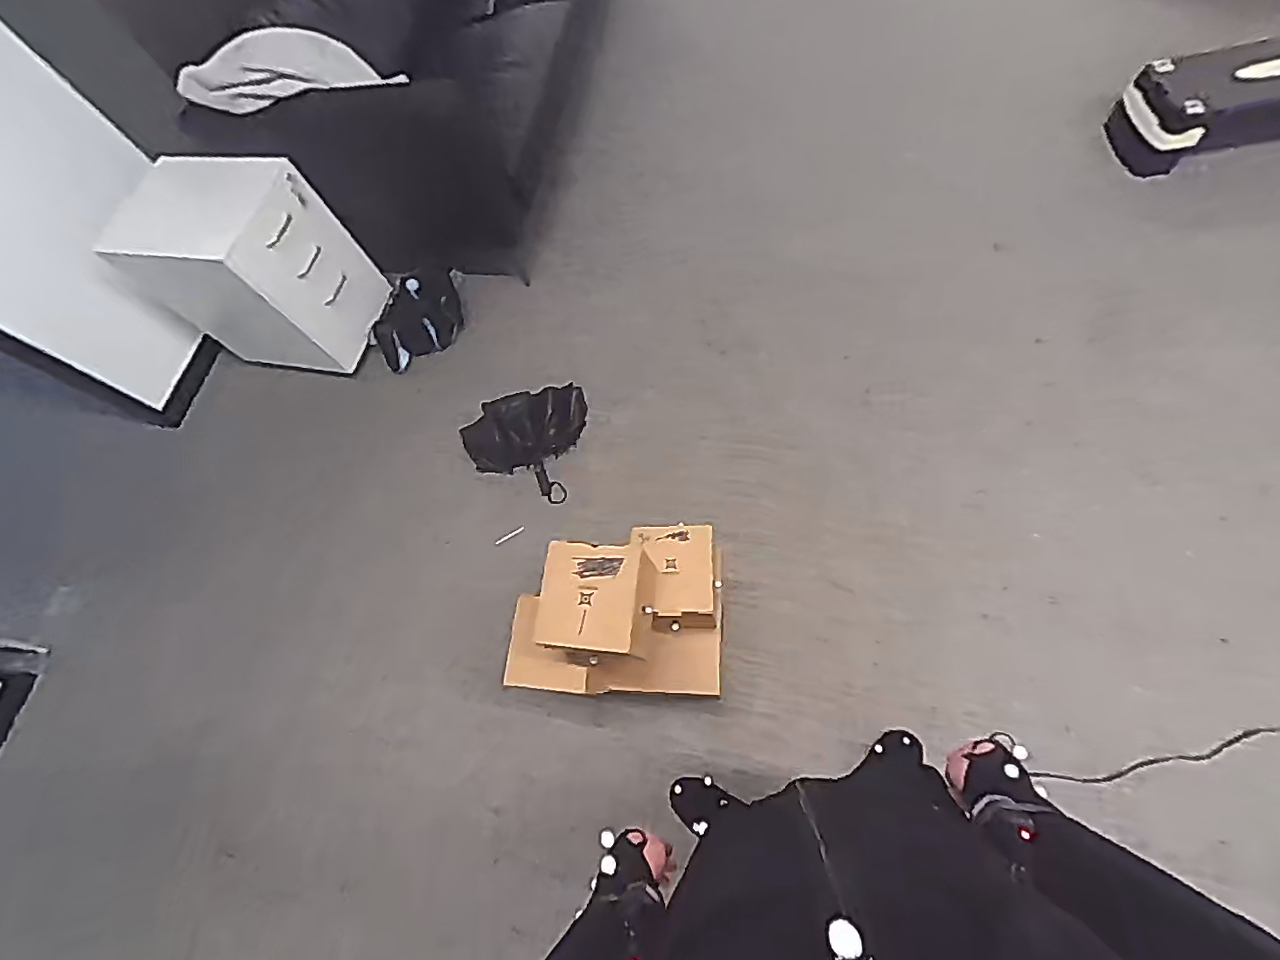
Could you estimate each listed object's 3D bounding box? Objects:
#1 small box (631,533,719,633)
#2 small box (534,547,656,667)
[{"bbox_3d":[0.076,0.219,1.123,0.168,0.176,0.179,-3,66,11],"label":"small box"},{"bbox_3d":[-0.069,0.230,0.965,0.168,0.176,0.179,2,69,14],"label":"small box"}]
